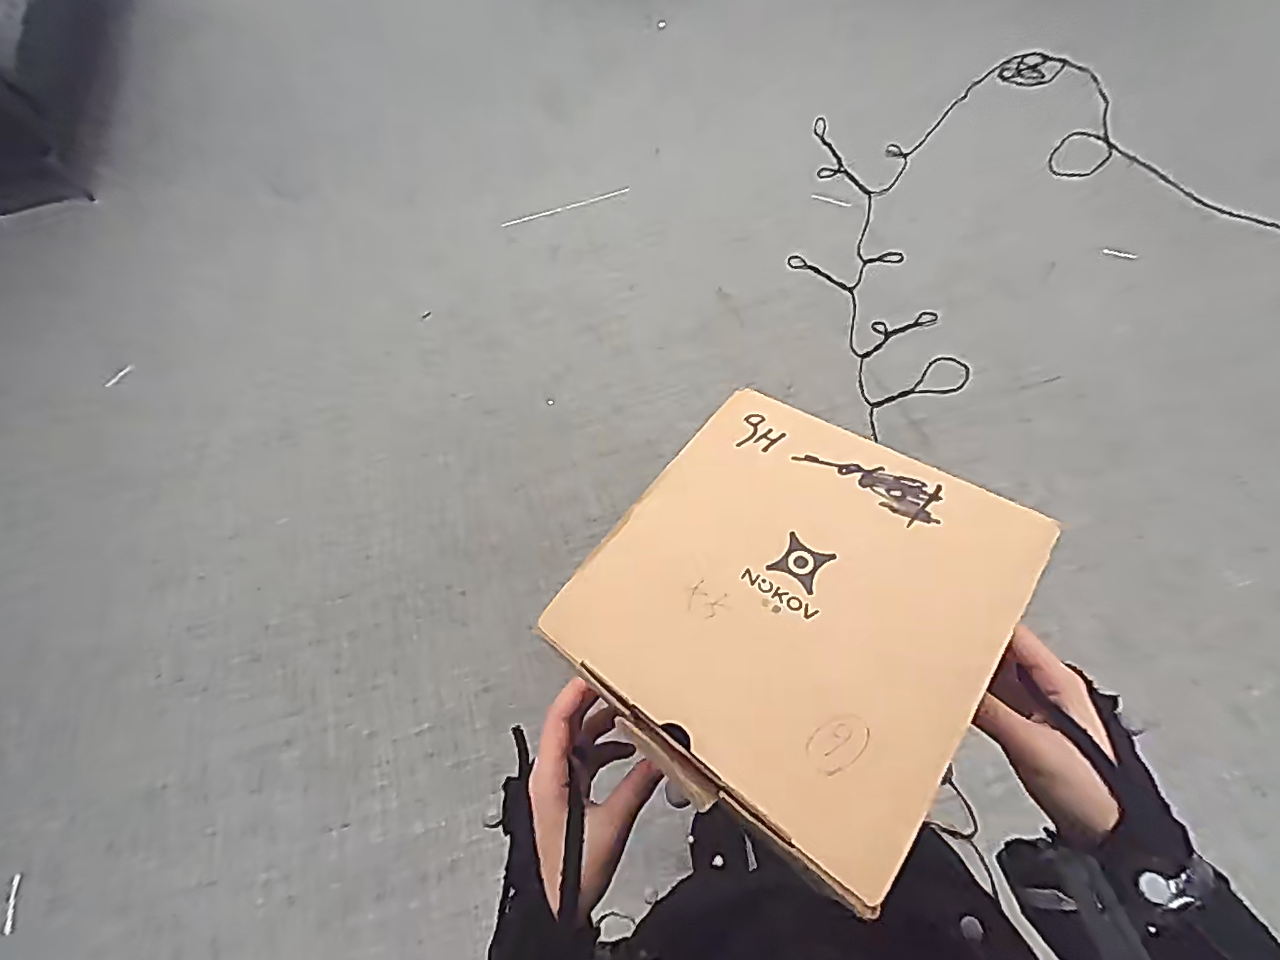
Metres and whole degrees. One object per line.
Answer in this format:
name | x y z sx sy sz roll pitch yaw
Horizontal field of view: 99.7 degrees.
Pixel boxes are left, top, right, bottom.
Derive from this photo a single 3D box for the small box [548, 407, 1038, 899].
small box | 0.082 0.096 0.318 0.168 0.176 0.179 30 66 28
